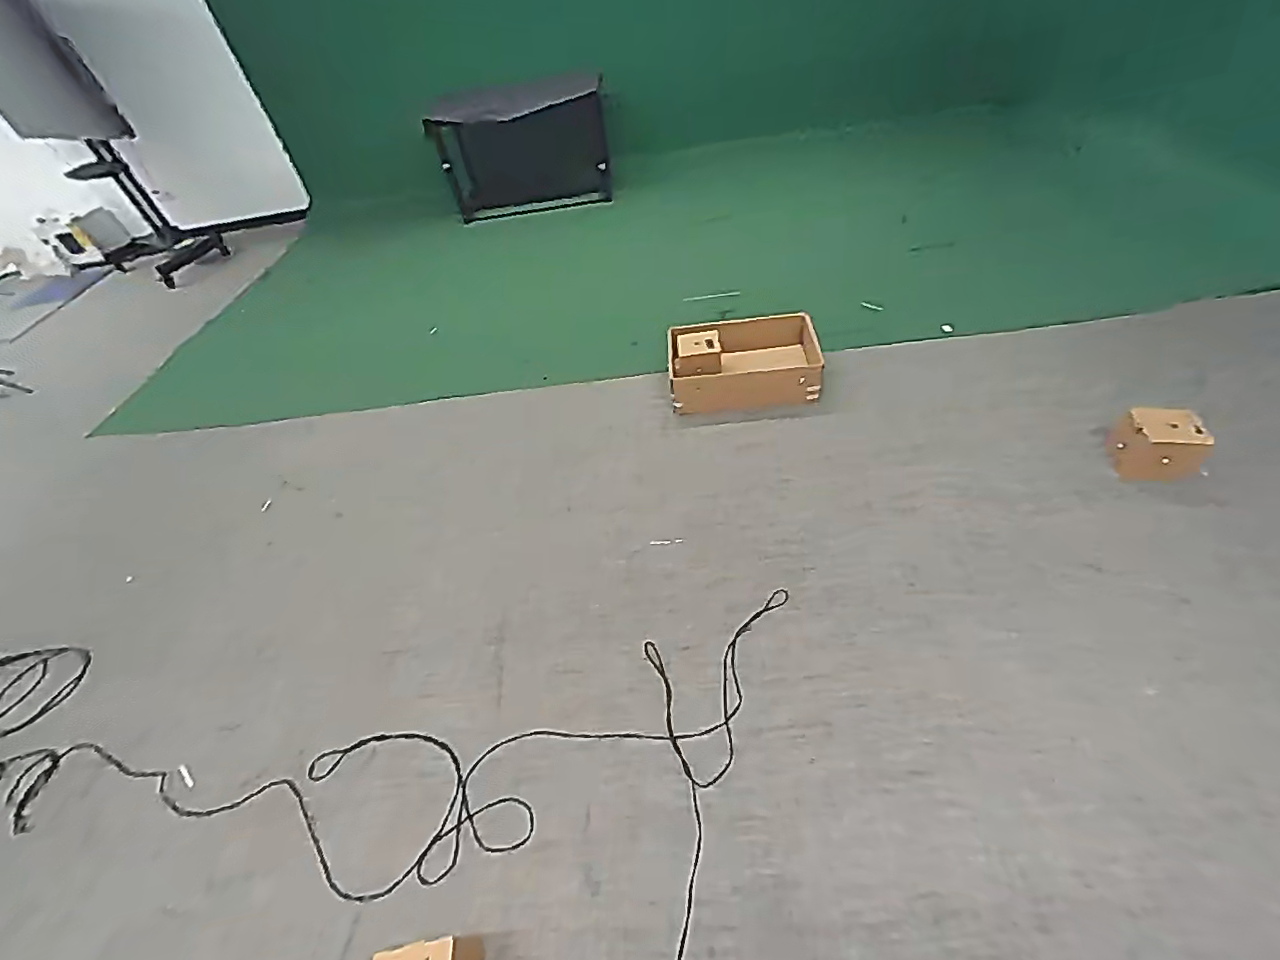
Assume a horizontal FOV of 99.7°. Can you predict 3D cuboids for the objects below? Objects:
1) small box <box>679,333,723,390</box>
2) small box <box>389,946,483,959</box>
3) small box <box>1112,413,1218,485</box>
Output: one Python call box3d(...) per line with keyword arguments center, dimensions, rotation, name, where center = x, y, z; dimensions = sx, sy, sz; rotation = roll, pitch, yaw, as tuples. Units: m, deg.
box3d(center=(0.266, -0.511, 2.339), dimensions=(0.179, 0.176, 0.168), rotation=(-6, 47, 6), name="small box")
box3d(center=(-0.412, 1.044, 1.056), dimensions=(0.168, 0.176, 0.179), rotation=(-12, 45, 0), name="small box")
box3d(center=(1.676, -0.100, 1.744), dimensions=(0.179, 0.176, 0.168), rotation=(3, 47, 14), name="small box")
